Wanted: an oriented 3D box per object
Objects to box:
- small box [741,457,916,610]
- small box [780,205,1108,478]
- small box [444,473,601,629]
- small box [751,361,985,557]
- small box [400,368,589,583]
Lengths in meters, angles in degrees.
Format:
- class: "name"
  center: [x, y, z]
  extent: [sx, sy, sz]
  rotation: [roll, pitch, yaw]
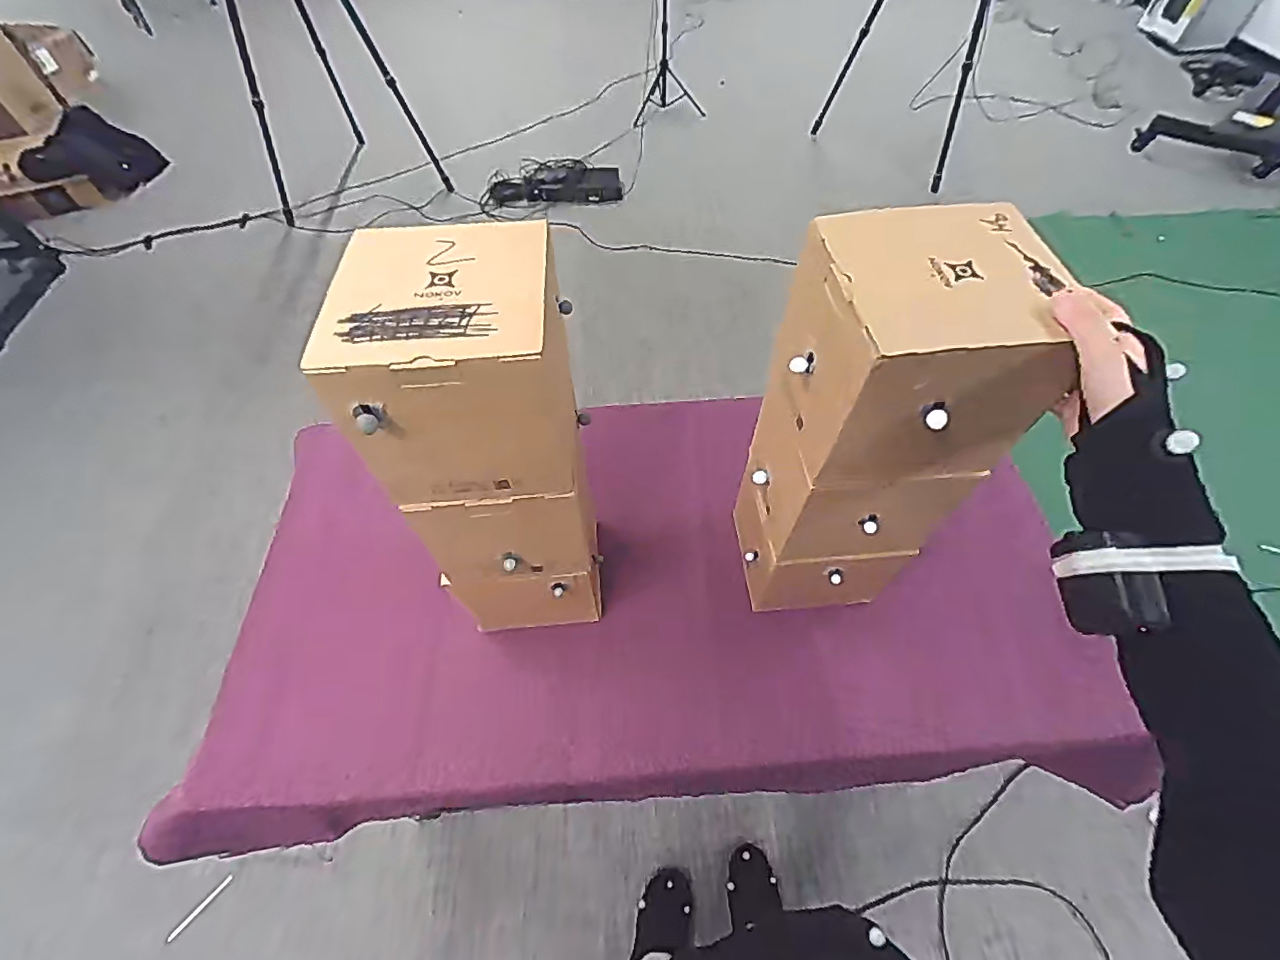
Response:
- class: "small box"
  center: [0.242, 0.071, 0.754]
  extent: [0.179, 0.176, 0.168]
  rotation: [-6, 57, -1]
- class: "small box"
  center: [0.233, -0.114, 0.480]
  extent: [0.179, 0.176, 0.168]
  rotation: [-5, 58, -3]
- class: "small box"
  center: [-0.151, 0.096, 0.750]
  extent: [0.179, 0.176, 0.168]
  rotation: [-5, 55, -3]
- class: "small box"
  center: [0.237, -0.024, 0.617]
  extent: [0.179, 0.176, 0.168]
  rotation: [-5, 57, -1]
- class: "small box"
  center: [-0.149, -0.002, 0.616]
  extent: [0.168, 0.176, 0.179]
  rotation: [-6, 55, -2]
